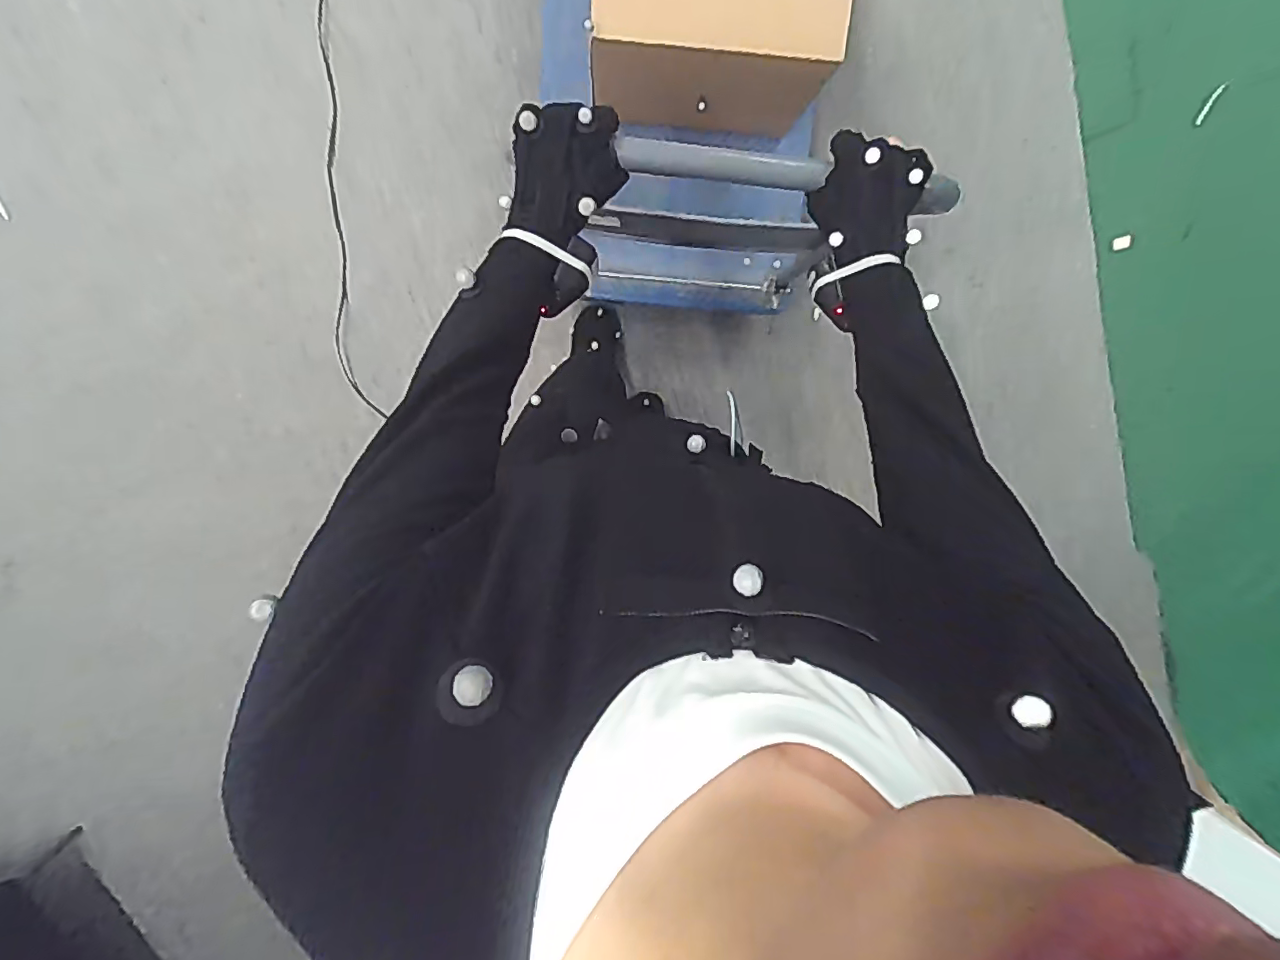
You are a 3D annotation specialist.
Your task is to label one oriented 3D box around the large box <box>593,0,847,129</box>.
[{"bbox_3d":[0.127,-0.864,0.968,0.408,0.320,0.320,2,102,-3],"label":"large box"}]
